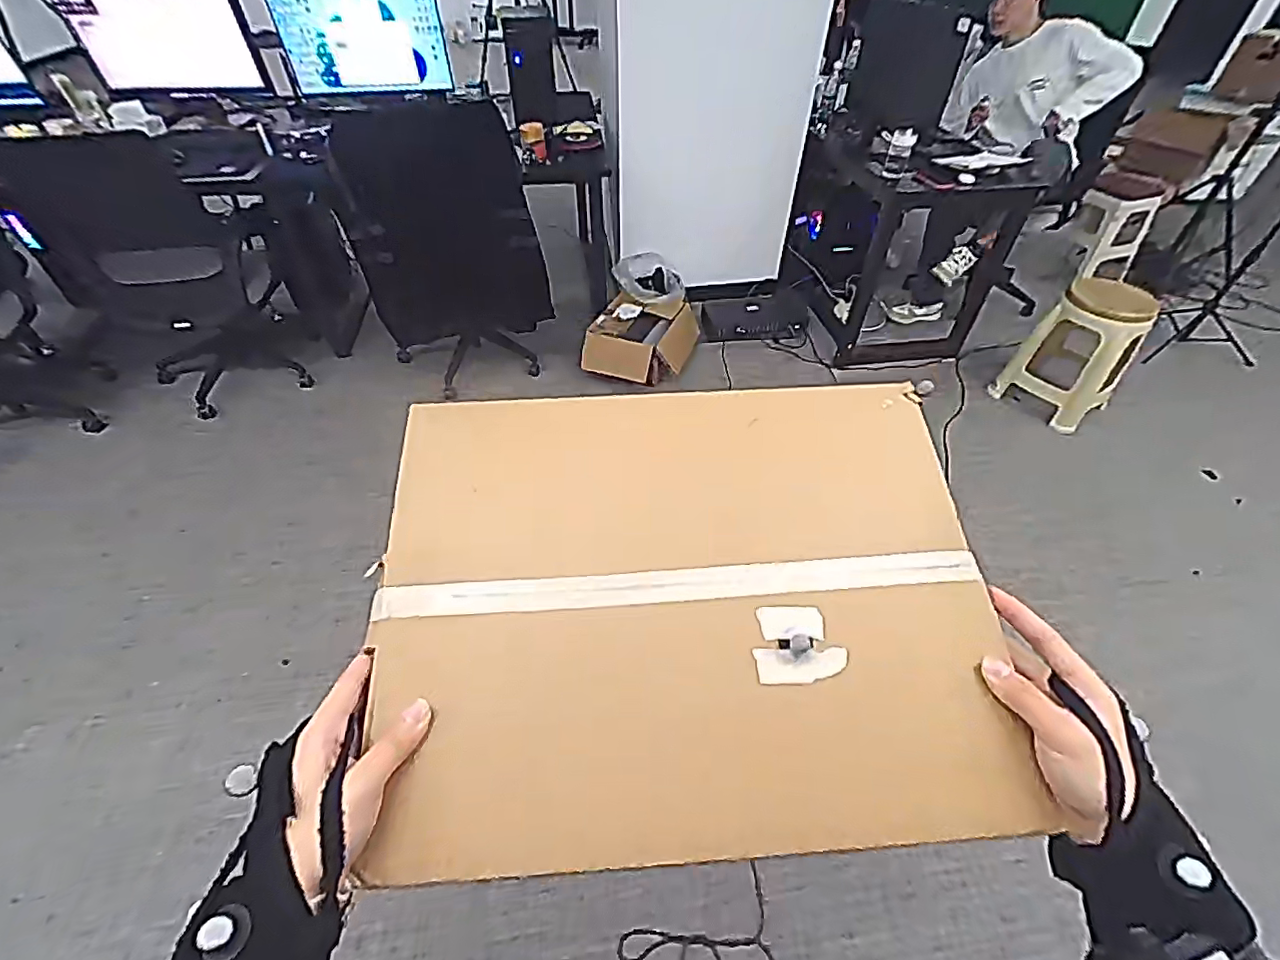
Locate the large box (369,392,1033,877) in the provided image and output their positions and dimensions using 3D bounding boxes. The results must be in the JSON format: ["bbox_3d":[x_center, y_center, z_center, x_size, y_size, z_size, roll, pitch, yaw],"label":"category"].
[{"bbox_3d":[0.026,0.140,0.513,0.408,0.320,0.320,-3,65,-3],"label":"large box"}]
